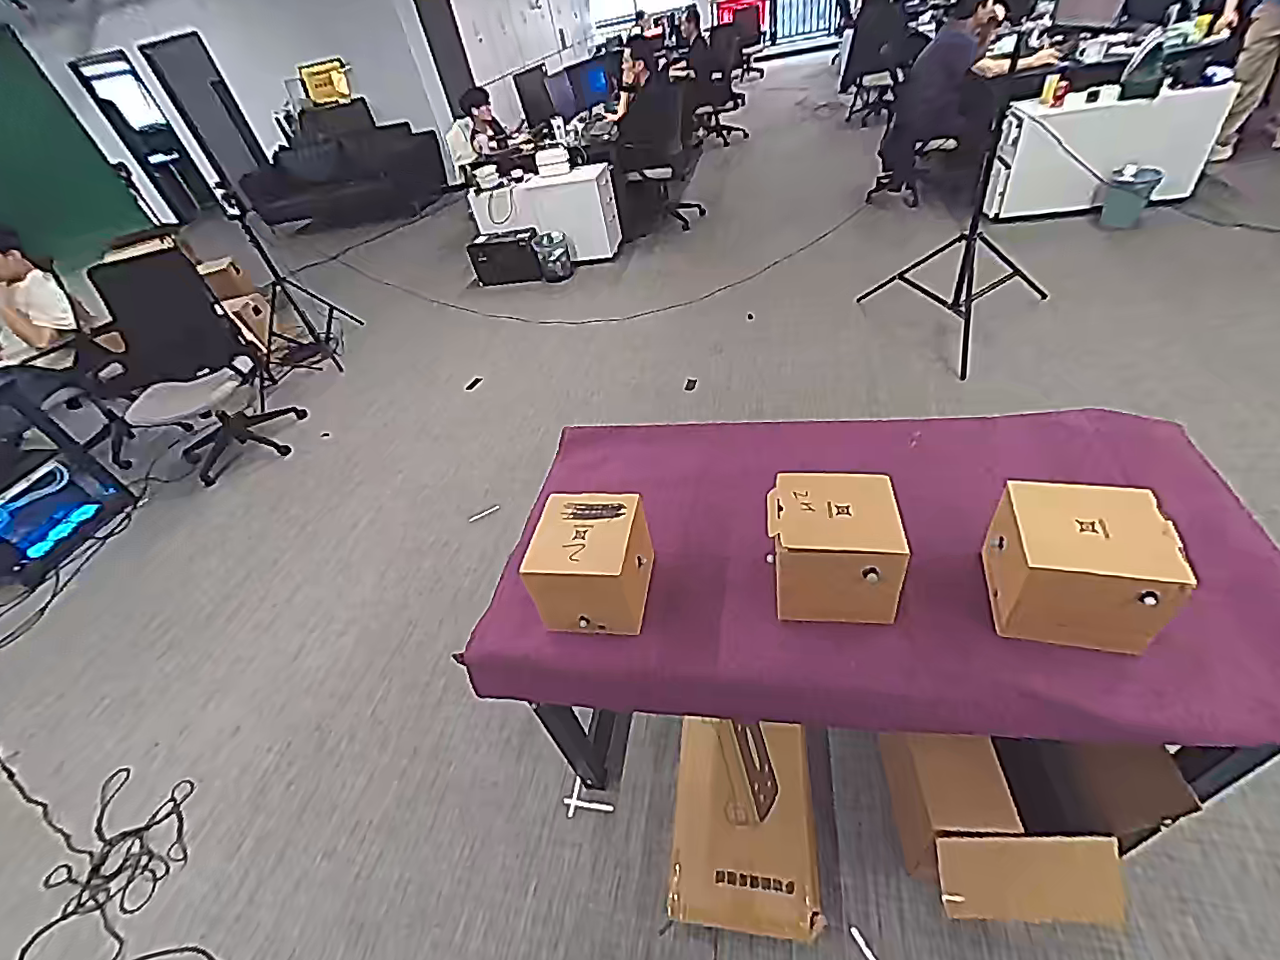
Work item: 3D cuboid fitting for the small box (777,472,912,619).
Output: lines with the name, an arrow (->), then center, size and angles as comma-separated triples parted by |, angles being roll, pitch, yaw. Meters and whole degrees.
small box -> 0.310, 0.104, 0.859 | 0.179, 0.176, 0.168 | -1, 41, 13

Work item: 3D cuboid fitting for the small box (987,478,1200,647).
small box -> 0.616, 0.116, 0.770 | 0.179, 0.176, 0.168 | 4, 45, 18
